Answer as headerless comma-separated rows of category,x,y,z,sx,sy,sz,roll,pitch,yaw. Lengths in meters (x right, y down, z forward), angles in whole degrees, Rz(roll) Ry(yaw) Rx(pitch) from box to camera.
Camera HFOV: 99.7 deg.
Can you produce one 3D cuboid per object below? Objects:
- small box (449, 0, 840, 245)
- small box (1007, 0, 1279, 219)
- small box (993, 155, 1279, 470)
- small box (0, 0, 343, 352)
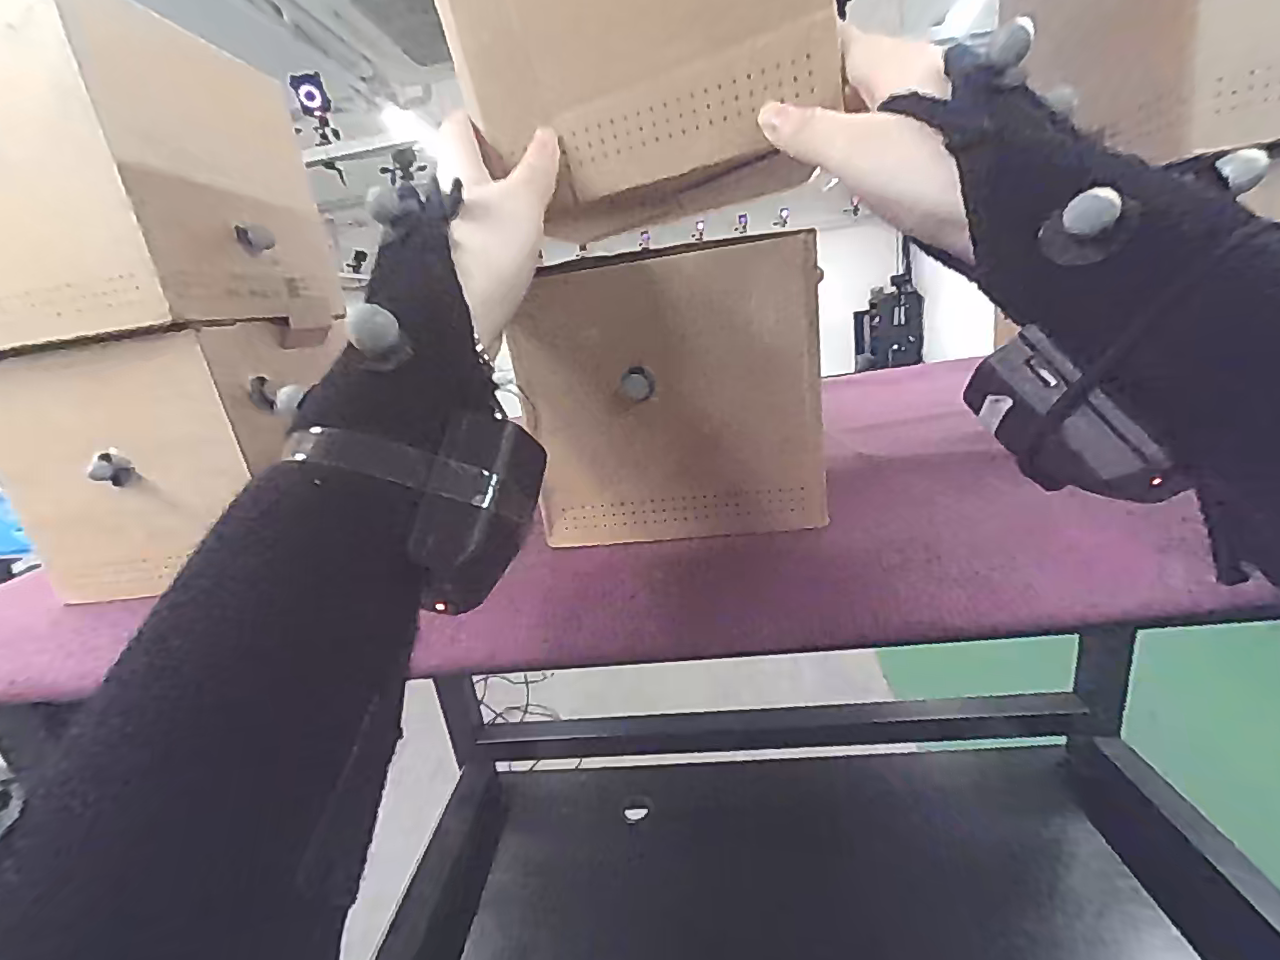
small box,0.004,-0.240,0.311,0.179,0.176,0.168,-9,17,13
small box,0.333,-0.257,0.298,0.179,0.176,0.168,-8,15,8
small box,0.362,-0.108,0.355,0.168,0.176,0.179,-7,16,8
small box,-0.339,-0.181,0.354,0.179,0.176,0.168,-6,18,6
